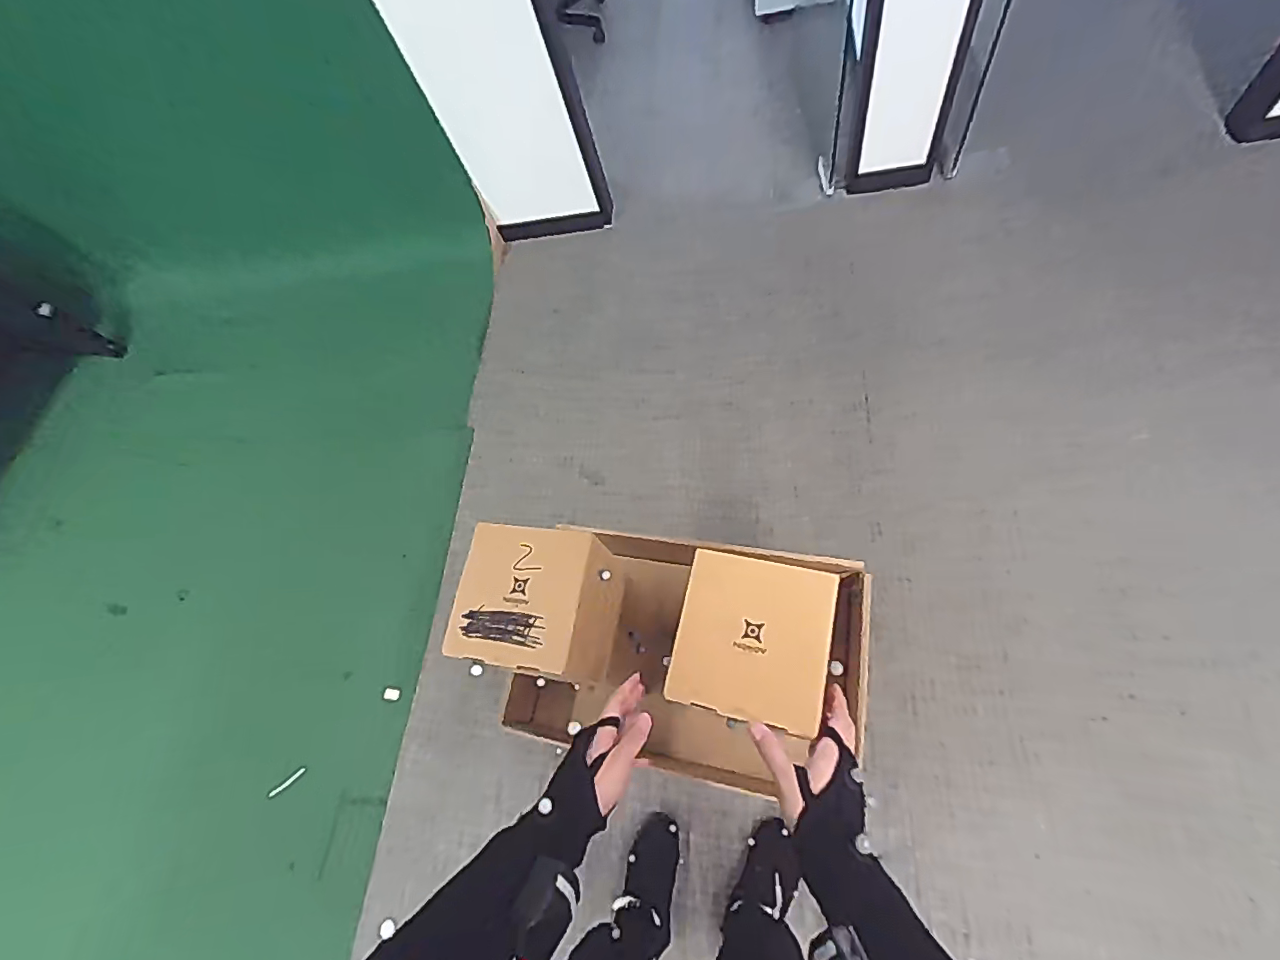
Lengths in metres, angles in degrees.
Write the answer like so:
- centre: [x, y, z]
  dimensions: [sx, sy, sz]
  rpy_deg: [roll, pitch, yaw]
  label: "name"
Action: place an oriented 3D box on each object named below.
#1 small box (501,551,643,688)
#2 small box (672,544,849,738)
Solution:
- centre: [-0.098, 0.231, 0.884]
  dimensions: [0.168, 0.176, 0.179]
  rpy_deg: [3, 66, 16]
  label: "small box"
- centre: [0.148, 0.198, 0.661]
  dimensions: [0.168, 0.176, 0.179]
  rpy_deg: [9, 70, 18]
  label: "small box"
